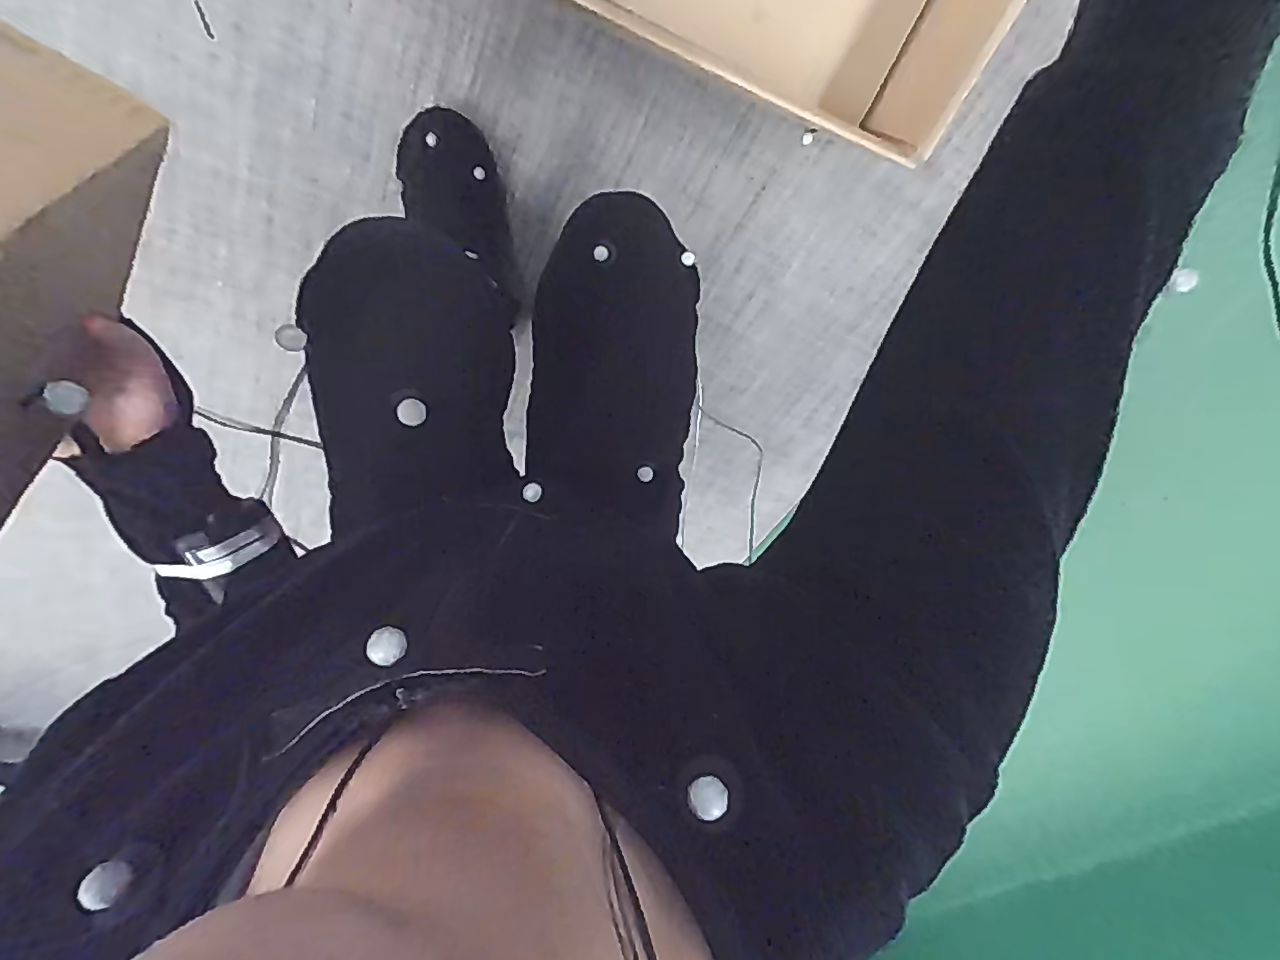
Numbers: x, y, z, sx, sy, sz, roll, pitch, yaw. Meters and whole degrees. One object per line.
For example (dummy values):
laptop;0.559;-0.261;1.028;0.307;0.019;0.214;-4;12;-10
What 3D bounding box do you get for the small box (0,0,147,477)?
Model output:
small box;-0.301;-0.087;0.173;0.168;0.176;0.179;22;120;-39
